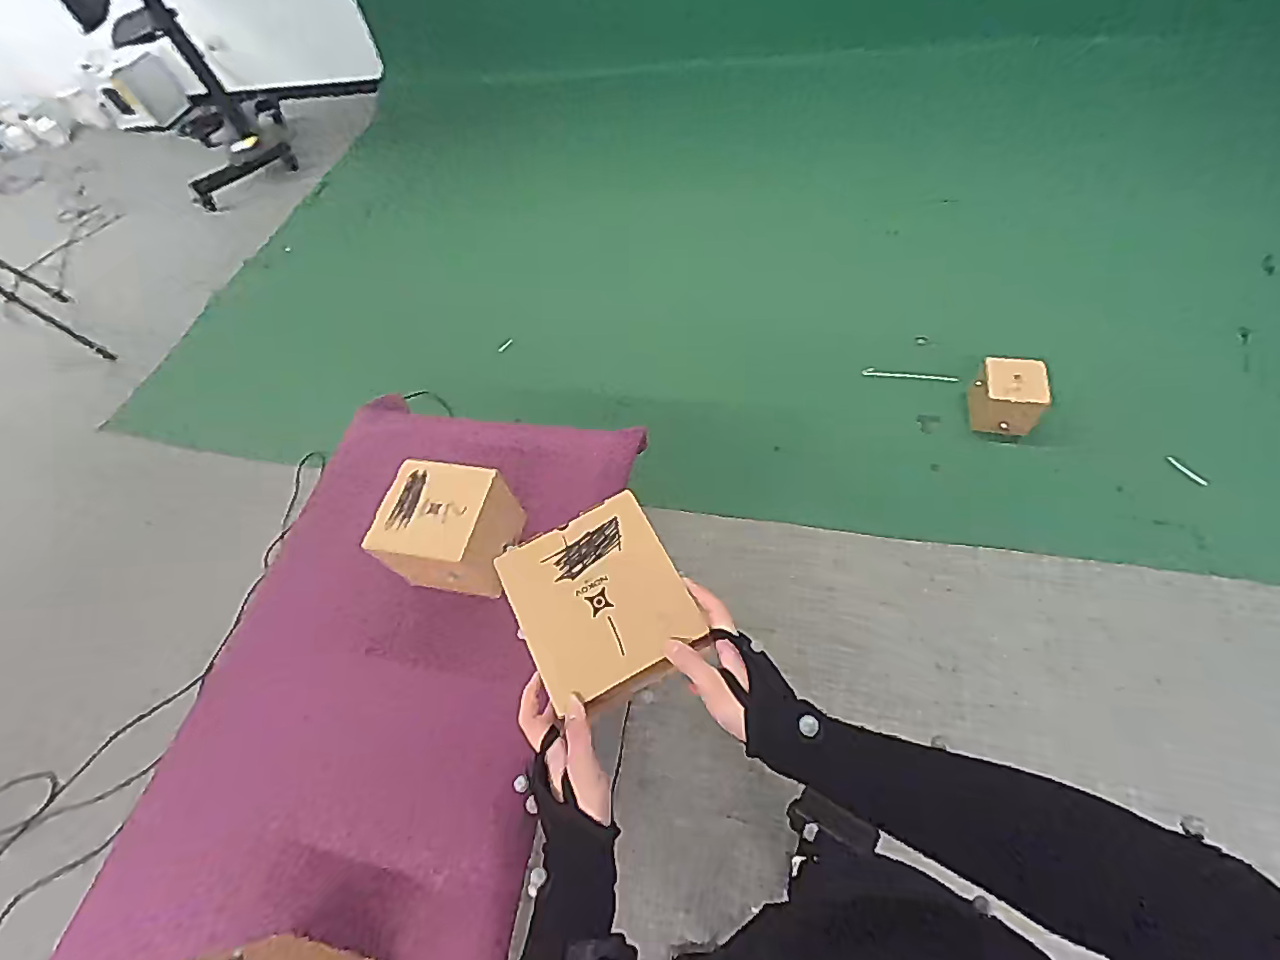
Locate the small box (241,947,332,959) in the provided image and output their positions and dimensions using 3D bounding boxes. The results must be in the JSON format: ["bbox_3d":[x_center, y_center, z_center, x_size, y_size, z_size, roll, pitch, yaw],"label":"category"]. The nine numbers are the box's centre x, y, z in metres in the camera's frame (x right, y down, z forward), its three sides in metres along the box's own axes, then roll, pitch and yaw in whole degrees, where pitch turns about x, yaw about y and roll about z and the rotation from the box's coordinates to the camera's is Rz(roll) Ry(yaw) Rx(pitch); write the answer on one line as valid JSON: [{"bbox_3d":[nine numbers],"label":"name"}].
[{"bbox_3d":[-0.419,0.645,0.591,0.179,0.176,0.168,4,59,12],"label":"small box"}]

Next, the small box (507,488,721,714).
[{"bbox_3d":[-0.026,0.144,0.612,0.168,0.176,0.179,-27,65,-7],"label":"small box"}]

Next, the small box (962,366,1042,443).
[{"bbox_3d":[1.170,-0.245,1.763,0.168,0.176,0.179,8,60,14],"label":"small box"}]
